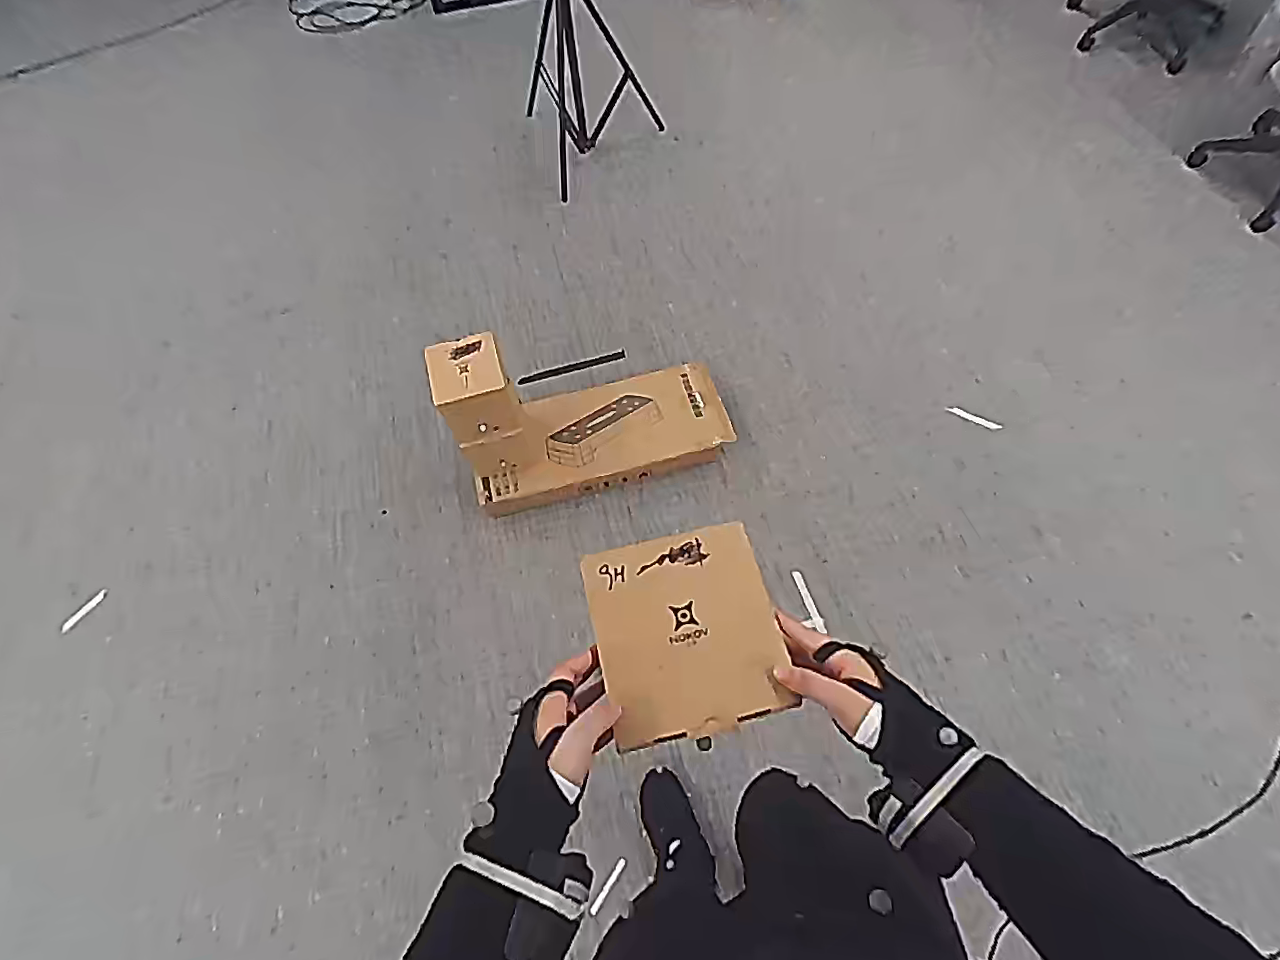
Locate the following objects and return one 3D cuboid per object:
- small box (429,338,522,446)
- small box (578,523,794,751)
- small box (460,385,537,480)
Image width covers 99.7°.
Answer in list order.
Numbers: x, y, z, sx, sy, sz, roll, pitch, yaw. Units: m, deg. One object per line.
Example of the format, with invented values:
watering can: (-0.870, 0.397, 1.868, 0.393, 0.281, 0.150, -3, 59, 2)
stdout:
small box: (-0.402, -0.213, 1.334, 0.168, 0.176, 0.179, -16, 64, -6)
small box: (0.039, 0.167, 0.564, 0.168, 0.176, 0.179, -12, 65, -5)
small box: (-0.389, -0.127, 1.473, 0.168, 0.176, 0.179, -15, 64, -5)
